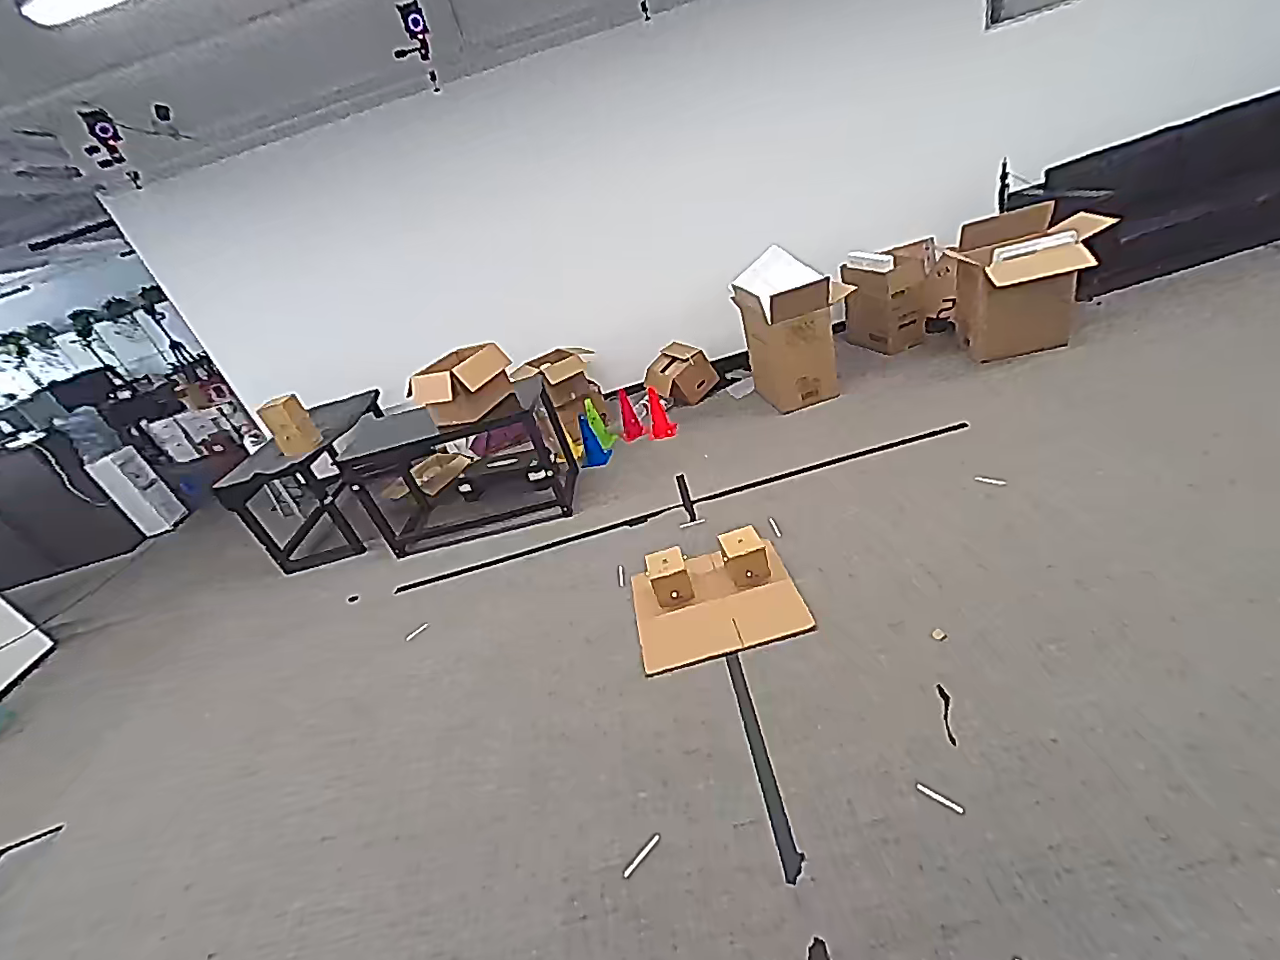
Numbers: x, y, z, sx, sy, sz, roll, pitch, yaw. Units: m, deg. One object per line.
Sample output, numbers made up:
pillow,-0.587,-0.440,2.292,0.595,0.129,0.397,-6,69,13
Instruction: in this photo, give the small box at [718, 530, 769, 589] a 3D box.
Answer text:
small box,0.463,0.356,2.424,0.168,0.176,0.179,-19,29,-1

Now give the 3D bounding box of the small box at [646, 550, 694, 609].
small box,0.133,0.449,2.436,0.168,0.176,0.179,-18,29,2
